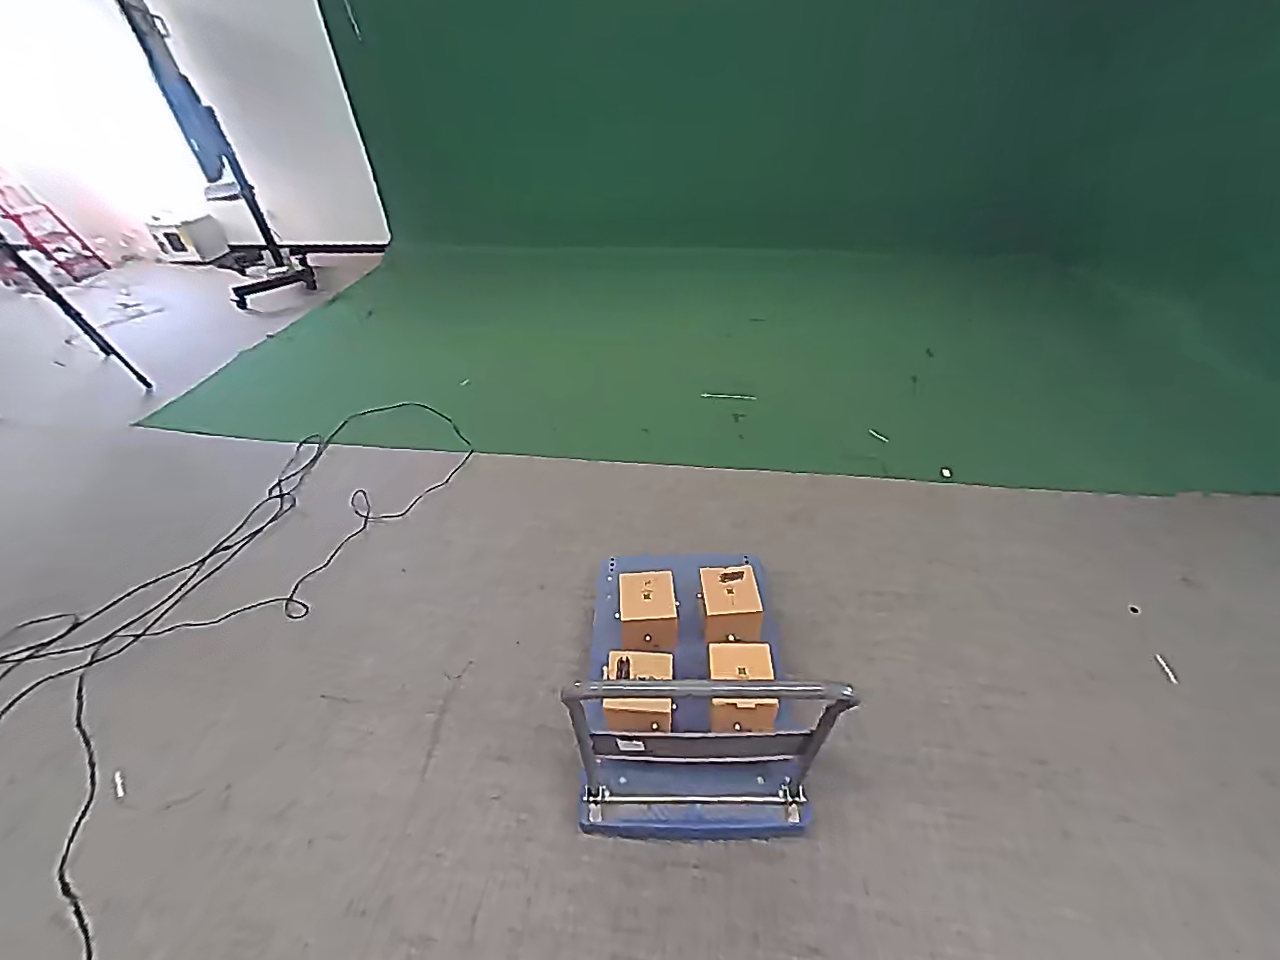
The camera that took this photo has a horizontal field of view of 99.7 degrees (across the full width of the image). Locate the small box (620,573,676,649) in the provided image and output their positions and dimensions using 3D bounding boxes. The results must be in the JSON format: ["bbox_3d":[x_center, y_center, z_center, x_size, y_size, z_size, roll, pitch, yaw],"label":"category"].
[{"bbox_3d":[0.024,0.415,1.689,0.168,0.176,0.179,-3,41,-1],"label":"small box"}]

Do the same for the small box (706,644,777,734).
[{"bbox_3d":[0.272,0.574,1.488,0.168,0.176,0.179,-1,41,3],"label":"small box"}]

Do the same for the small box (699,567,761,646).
[{"bbox_3d":[0.275,0.397,1.692,0.168,0.176,0.179,-4,42,0],"label":"small box"}]
